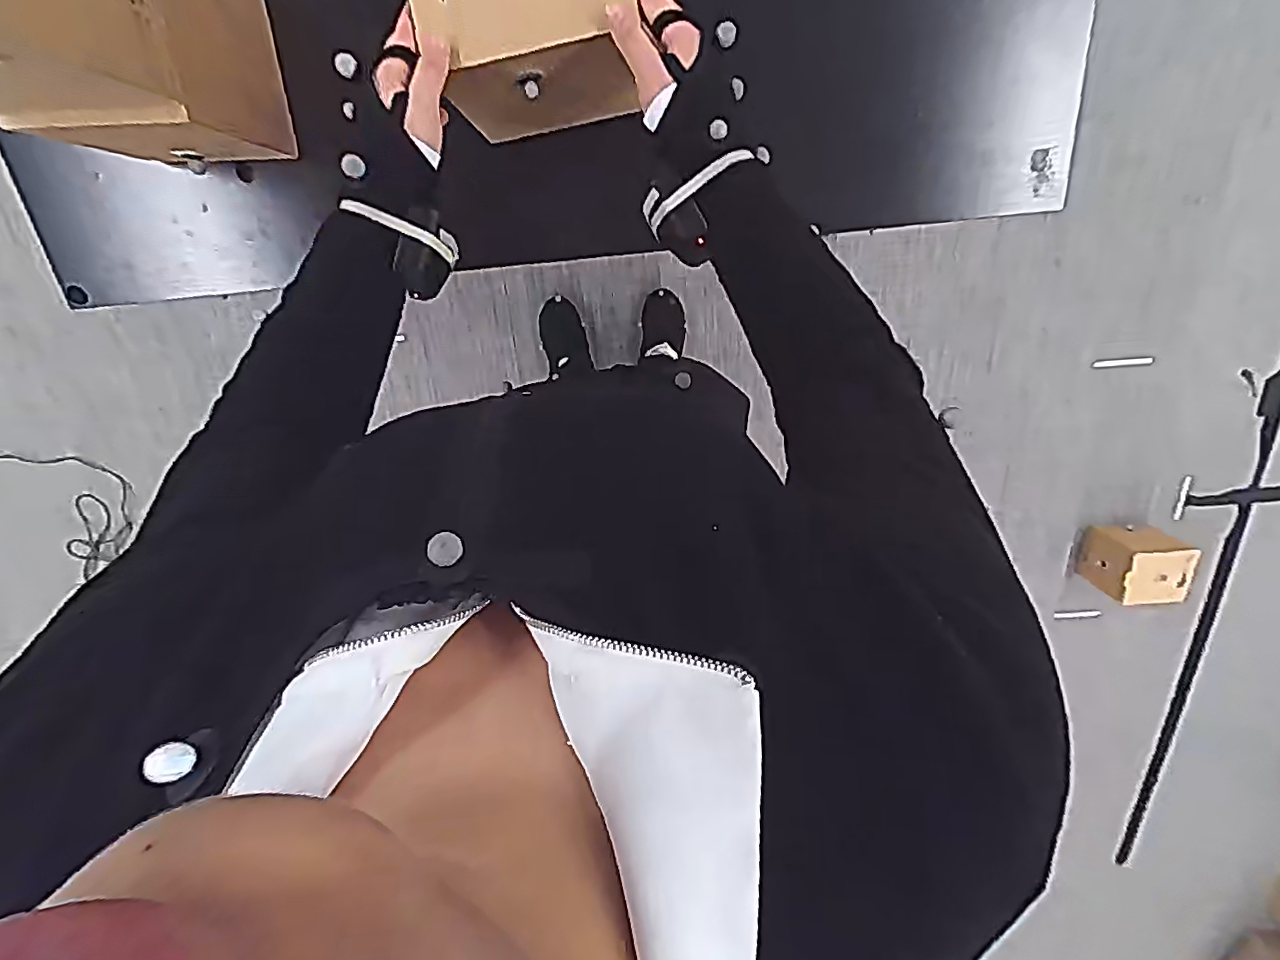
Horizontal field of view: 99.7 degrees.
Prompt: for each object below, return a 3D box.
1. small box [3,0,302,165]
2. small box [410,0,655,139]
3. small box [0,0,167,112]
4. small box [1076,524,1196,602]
[{"bbox_3d":[-0.462,-0.413,0.508,0.168,0.176,0.179,-2,112,1],"label":"small box"},{"bbox_3d":[-0.088,-0.424,0.468,0.179,0.176,0.168,-9,106,7],"label":"small box"},{"bbox_3d":[-0.466,-0.360,0.352,0.179,0.176,0.168,-2,110,1],"label":"small box"},{"bbox_3d":[1.417,0.237,1.561,0.179,0.176,0.168,-3,112,1],"label":"small box"}]
